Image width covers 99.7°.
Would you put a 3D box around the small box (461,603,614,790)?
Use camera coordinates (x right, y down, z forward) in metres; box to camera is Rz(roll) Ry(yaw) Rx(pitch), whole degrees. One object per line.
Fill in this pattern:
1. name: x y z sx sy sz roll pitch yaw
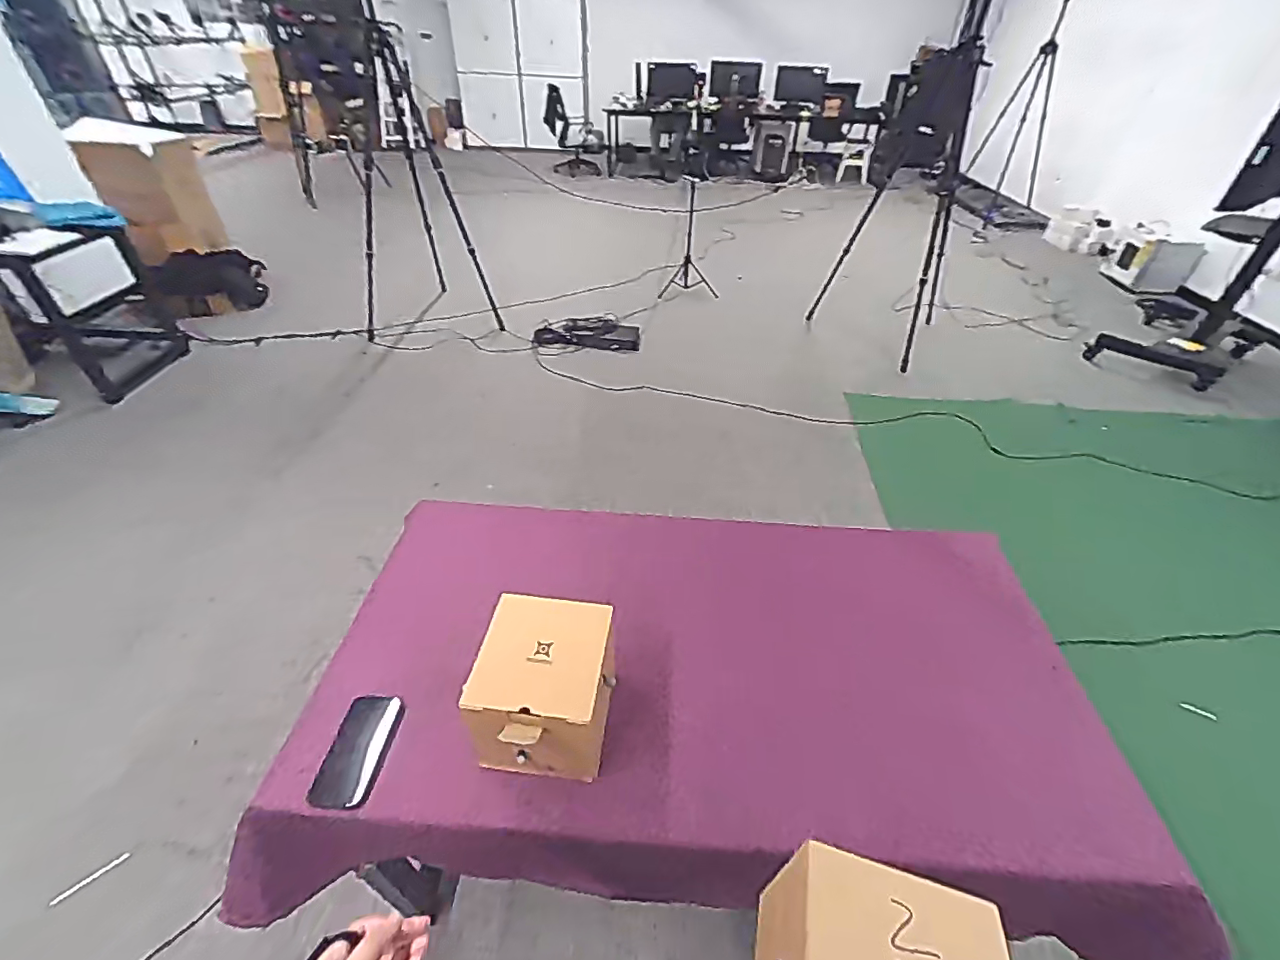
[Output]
1. small box: -0.133 0.305 0.768 0.168 0.176 0.179 6 39 5
